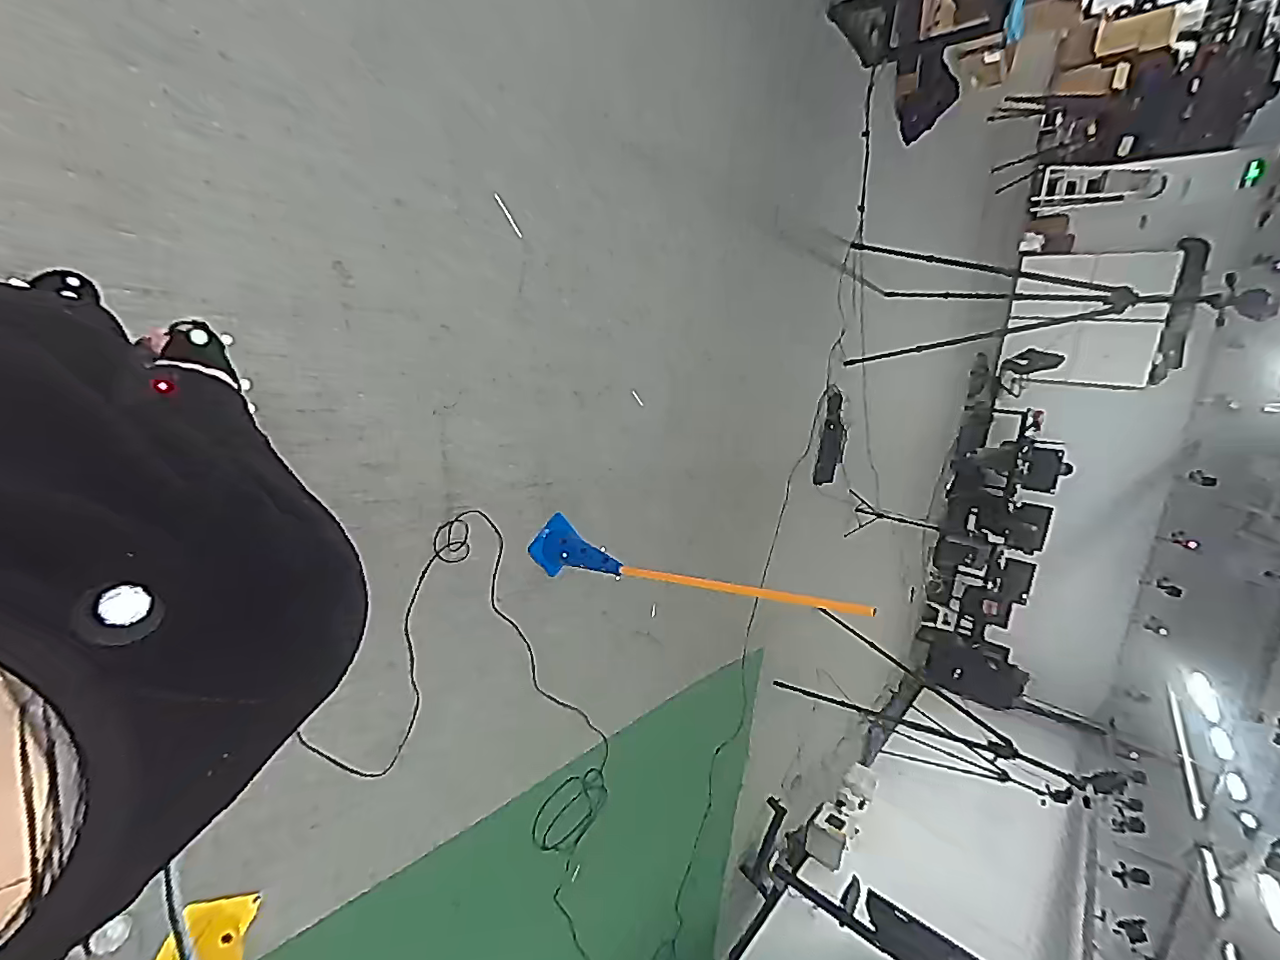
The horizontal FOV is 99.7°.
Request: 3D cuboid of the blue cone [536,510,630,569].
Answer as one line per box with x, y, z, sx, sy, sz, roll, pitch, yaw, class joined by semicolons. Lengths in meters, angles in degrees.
-0.190;0.261;2.010;0.193;0.380;0.192;-57;137;-24;blue cone
